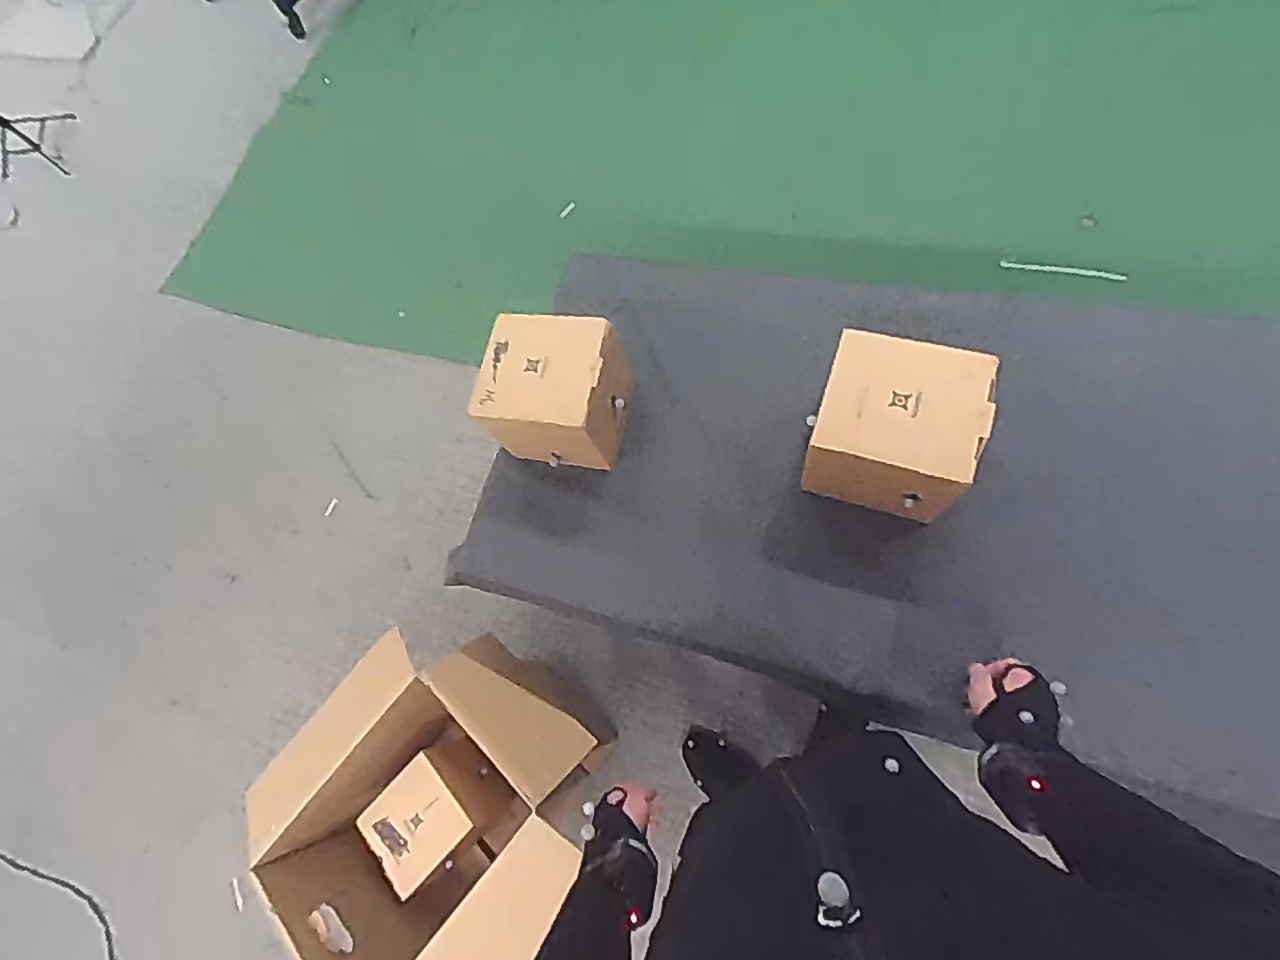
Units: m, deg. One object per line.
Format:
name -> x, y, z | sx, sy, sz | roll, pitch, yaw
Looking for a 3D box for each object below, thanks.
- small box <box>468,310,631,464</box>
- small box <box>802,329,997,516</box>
small box -> -0.122, -0.133, 0.817 | 0.179, 0.176, 0.168 | 8, 73, 14
small box -> 0.319, -0.065, 0.696 | 0.179, 0.176, 0.168 | 16, 74, 19
